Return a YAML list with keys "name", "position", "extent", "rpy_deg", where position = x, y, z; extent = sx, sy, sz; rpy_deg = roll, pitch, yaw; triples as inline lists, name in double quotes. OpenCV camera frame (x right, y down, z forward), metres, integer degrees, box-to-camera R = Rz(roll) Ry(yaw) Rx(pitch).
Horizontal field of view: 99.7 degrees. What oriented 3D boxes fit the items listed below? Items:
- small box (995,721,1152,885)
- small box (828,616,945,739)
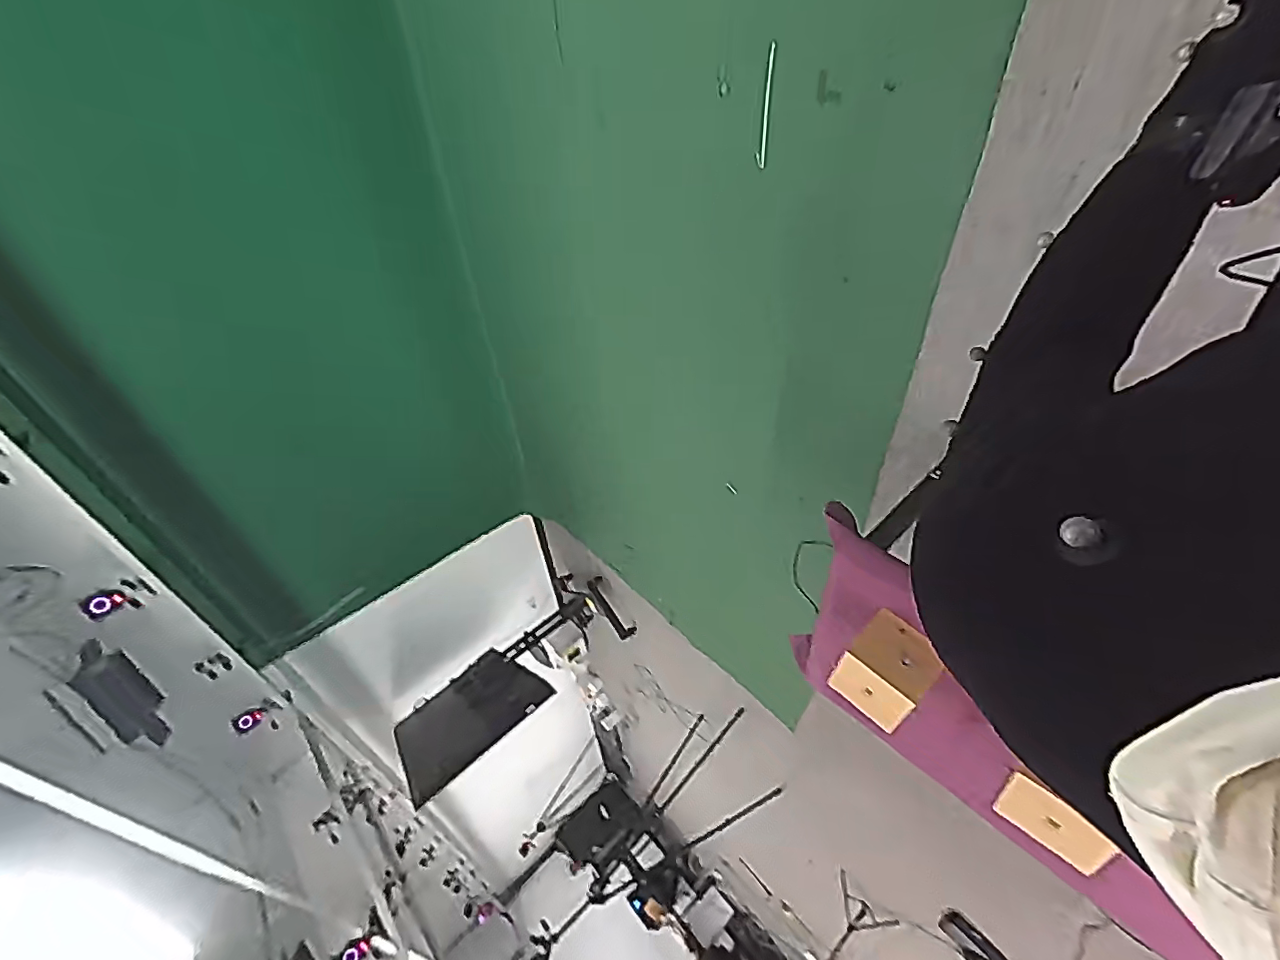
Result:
- name: "small box"
  position: [0.813, 0.601, 1.019]
  extent: [0.168, 0.176, 0.179]
  rpy_deg: [30, 142, 39]
- name: "small box"
  position: [0.568, 0.450, 1.246]
  extent: [0.168, 0.176, 0.179]
  rpy_deg: [37, 147, 31]
